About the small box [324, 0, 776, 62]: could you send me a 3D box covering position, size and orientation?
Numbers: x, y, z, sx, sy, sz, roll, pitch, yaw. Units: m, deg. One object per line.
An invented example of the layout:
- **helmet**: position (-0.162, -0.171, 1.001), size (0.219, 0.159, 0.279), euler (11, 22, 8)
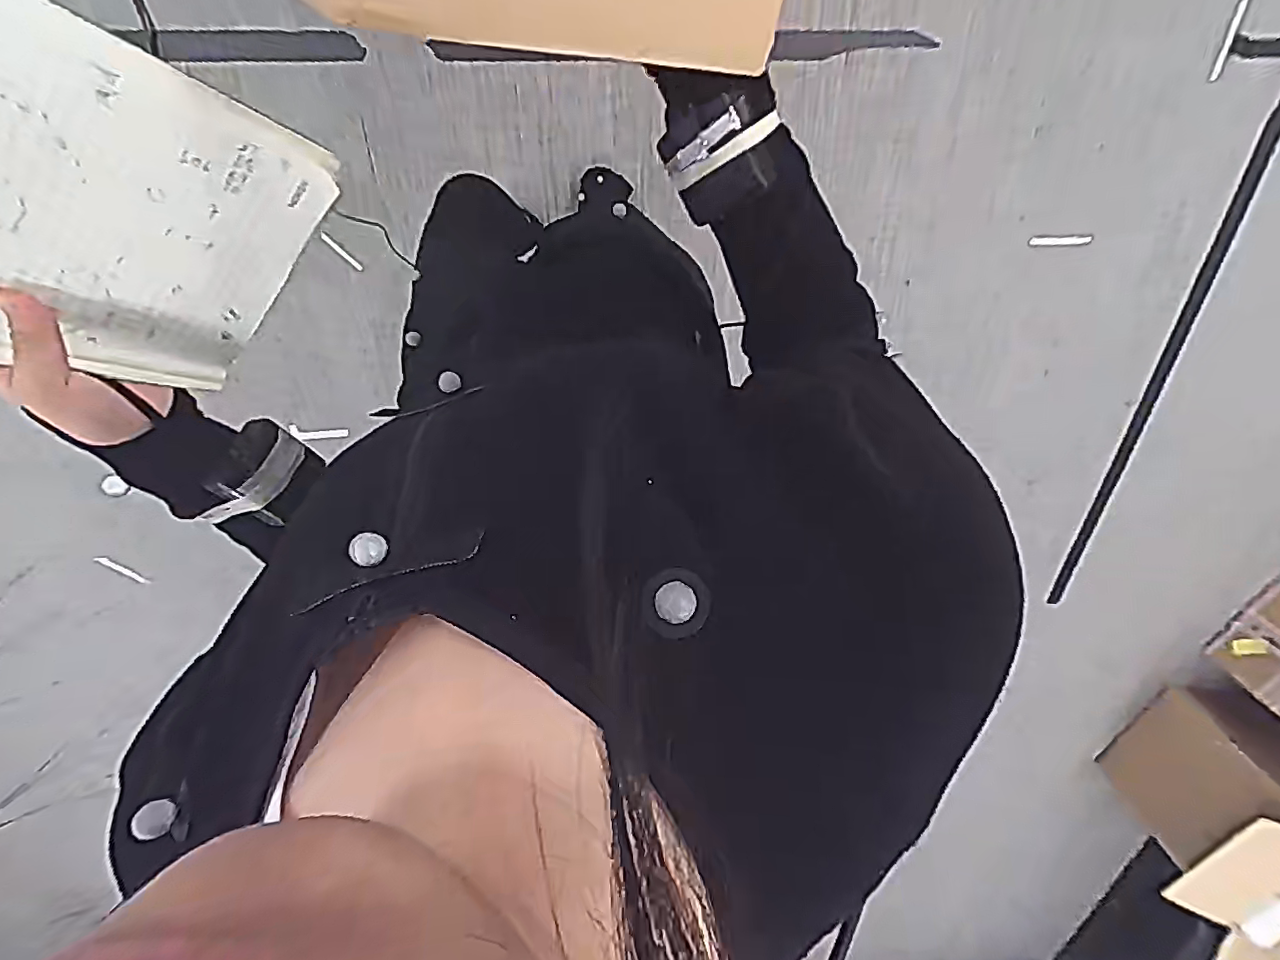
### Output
- **small box**: position (-0.050, -0.268, 0.186), size (0.179, 0.176, 0.168), euler (-20, 140, -30)
